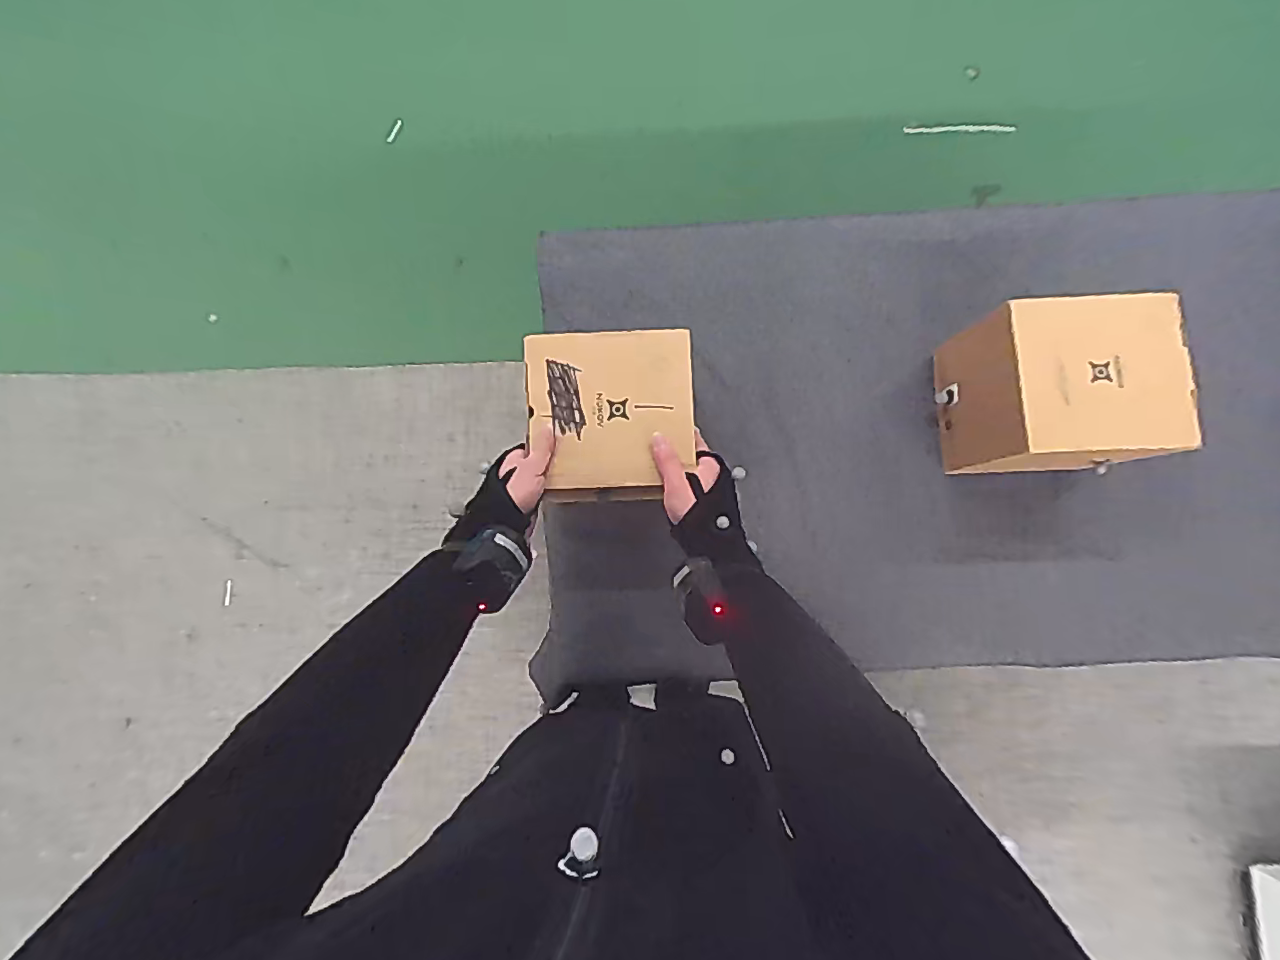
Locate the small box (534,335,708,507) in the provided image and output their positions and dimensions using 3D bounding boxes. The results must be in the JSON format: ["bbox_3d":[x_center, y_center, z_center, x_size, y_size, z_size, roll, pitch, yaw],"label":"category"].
[{"bbox_3d":[-0.020,-0.057,0.626,0.179,0.176,0.168,-2,84,-1],"label":"small box"}]

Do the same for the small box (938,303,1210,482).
[{"bbox_3d":[0.484,-0.090,0.631,0.179,0.176,0.168,-3,82,1],"label":"small box"}]
